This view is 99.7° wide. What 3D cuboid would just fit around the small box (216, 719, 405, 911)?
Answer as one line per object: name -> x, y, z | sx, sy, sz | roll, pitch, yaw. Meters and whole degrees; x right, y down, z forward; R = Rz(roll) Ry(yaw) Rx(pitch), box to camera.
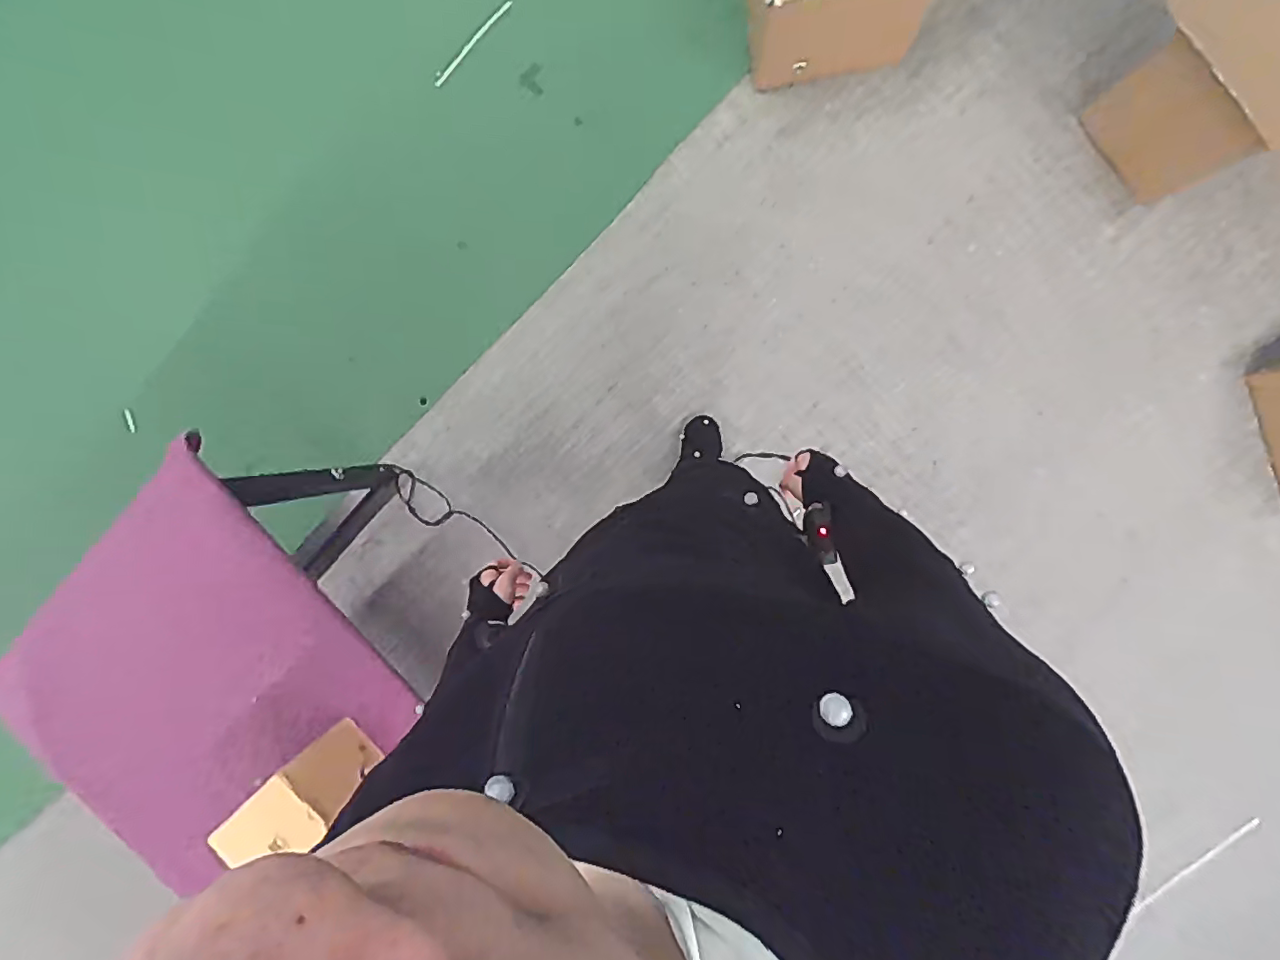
small box -> -0.538, 0.548, 0.908 | 0.179, 0.176, 0.168 | -43, 90, 7
